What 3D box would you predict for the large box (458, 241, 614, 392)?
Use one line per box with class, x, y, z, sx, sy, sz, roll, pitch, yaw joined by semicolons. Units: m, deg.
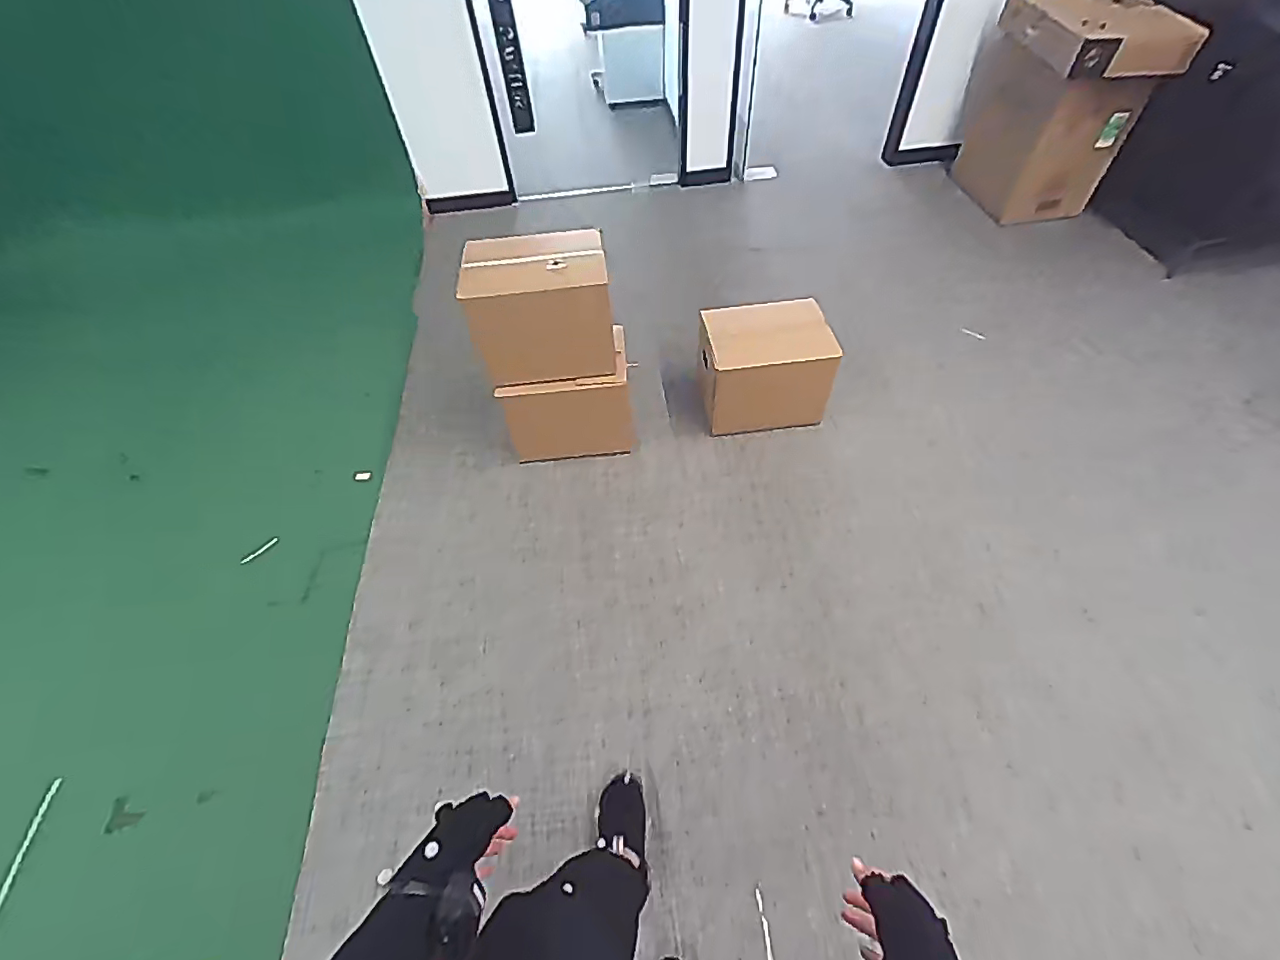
large box;-0.296;-0.493;1.639;0.408;0.320;0.320;-6;49;-2
